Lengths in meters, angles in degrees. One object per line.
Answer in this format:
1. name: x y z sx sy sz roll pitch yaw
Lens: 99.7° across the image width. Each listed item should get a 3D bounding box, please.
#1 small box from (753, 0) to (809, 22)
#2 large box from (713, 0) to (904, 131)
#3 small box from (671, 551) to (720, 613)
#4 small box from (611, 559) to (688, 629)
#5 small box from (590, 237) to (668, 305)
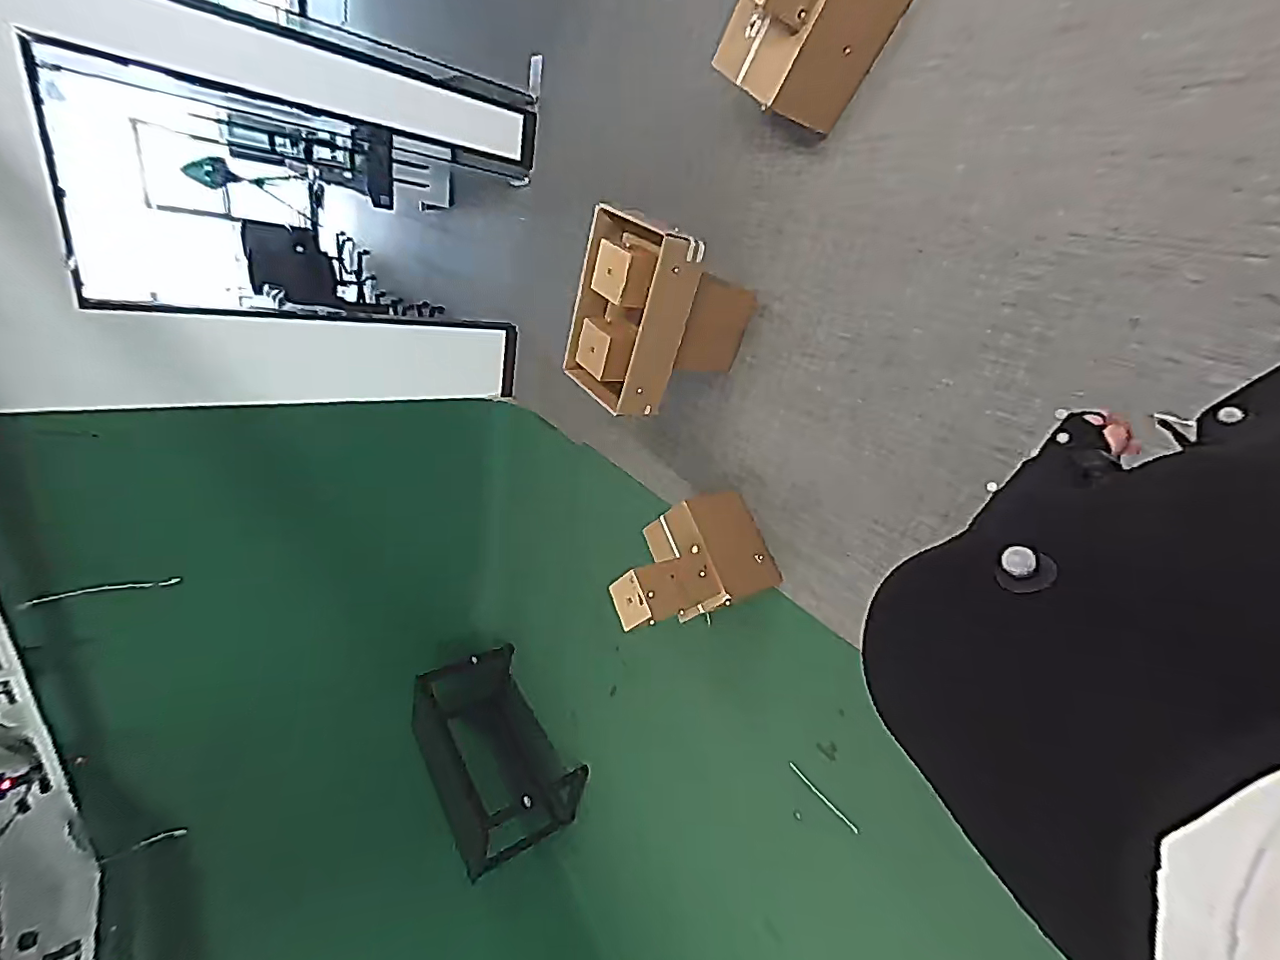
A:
1. small box: 0.350 -1.306 1.364 0.179 0.176 0.168 60 137 23
2. large box: 0.492 -1.332 1.579 0.320 0.320 0.408 58 138 27
3. small box: 0.156 0.372 1.953 0.179 0.176 0.168 -43 64 45
4. small box: 0.034 0.387 1.843 0.179 0.176 0.168 -44 63 46
5. small box: -0.038 -0.694 1.809 0.179 0.176 0.168 43 129 36
